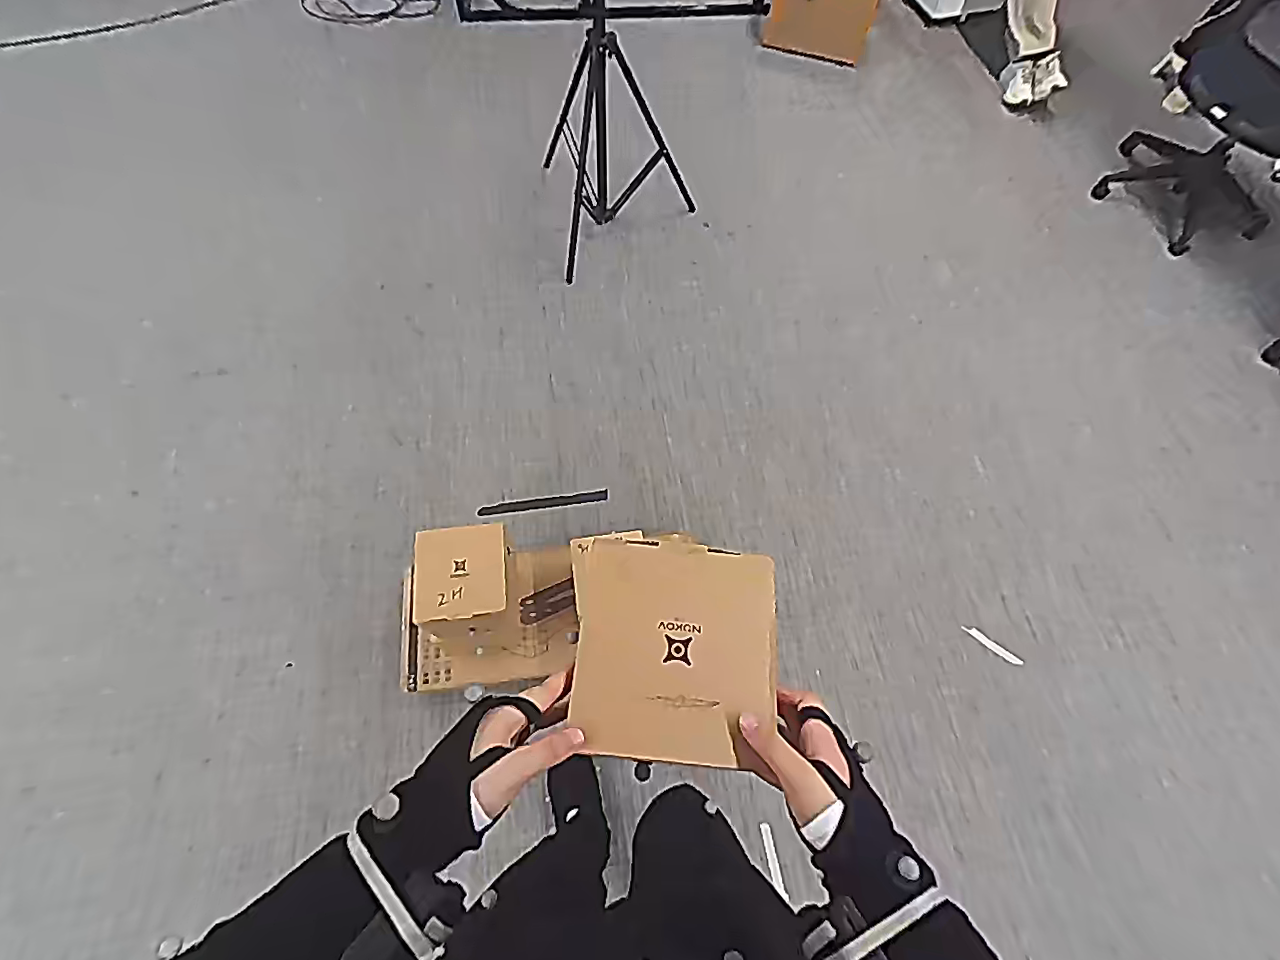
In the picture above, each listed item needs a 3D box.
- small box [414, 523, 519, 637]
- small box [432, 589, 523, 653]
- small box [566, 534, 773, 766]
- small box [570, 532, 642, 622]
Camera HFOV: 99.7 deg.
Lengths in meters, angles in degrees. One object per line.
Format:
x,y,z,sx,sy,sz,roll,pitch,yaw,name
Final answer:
-0.336,0.203,1.076,0.168,0.176,0.179,-6,66,-6,small box
-0.363,0.281,1.220,0.168,0.176,0.179,-7,66,-7,small box
0.025,0.170,0.525,0.168,0.176,0.179,6,64,-1,small box
-0.067,0.236,1.259,0.168,0.176,0.179,-7,66,-4,small box
